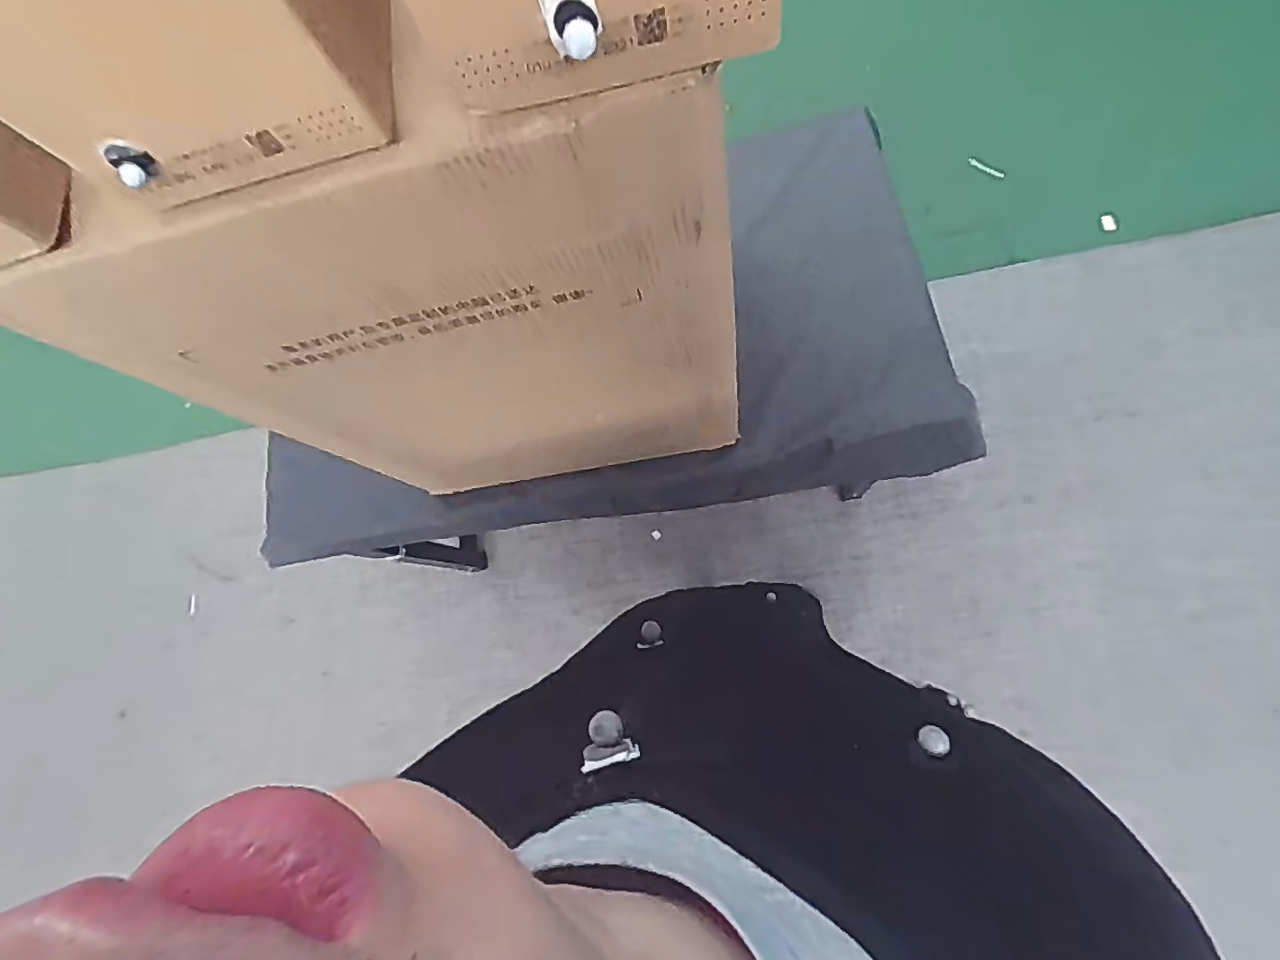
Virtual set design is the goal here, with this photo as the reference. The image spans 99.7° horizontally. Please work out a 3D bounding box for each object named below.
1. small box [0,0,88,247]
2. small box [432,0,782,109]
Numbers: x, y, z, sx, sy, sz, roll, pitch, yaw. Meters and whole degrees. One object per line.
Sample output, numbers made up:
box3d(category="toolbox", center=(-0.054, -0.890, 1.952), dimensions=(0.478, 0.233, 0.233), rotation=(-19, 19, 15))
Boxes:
box3d(category="small box", center=(-0.457, -0.241, 0.285), dimensions=(0.168, 0.176, 0.179), rotation=(-8, 75, 12))
box3d(category="small box", center=(-0.030, -0.307, 0.223), dimensions=(0.168, 0.176, 0.179), rotation=(-8, 77, 9))
